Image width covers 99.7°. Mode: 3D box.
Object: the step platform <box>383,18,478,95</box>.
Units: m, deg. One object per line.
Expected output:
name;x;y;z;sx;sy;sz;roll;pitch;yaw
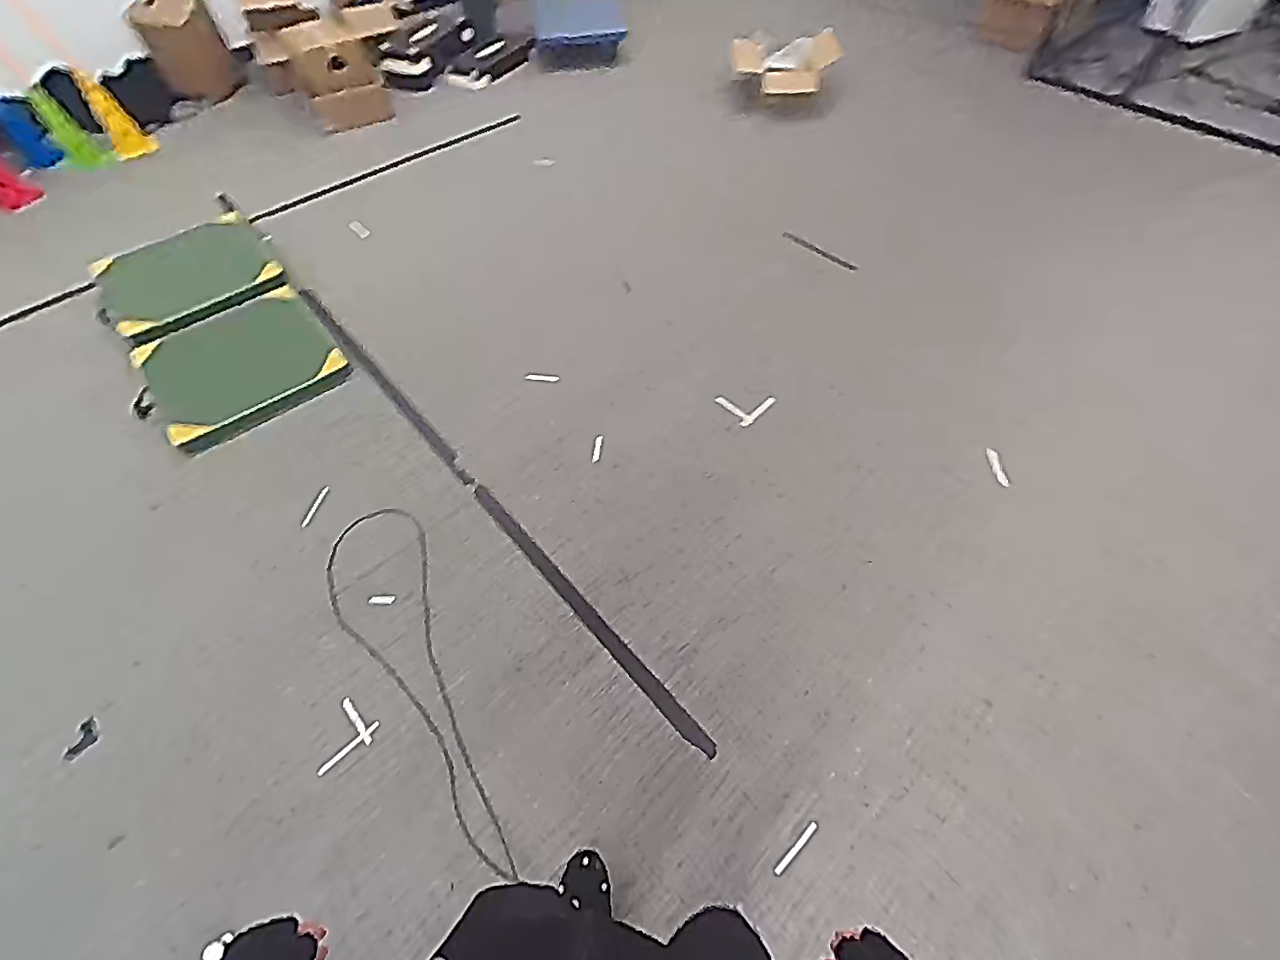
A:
step platform;-1.334;-2.733;3.470;0.286;0.204;0.684;16;58;10
